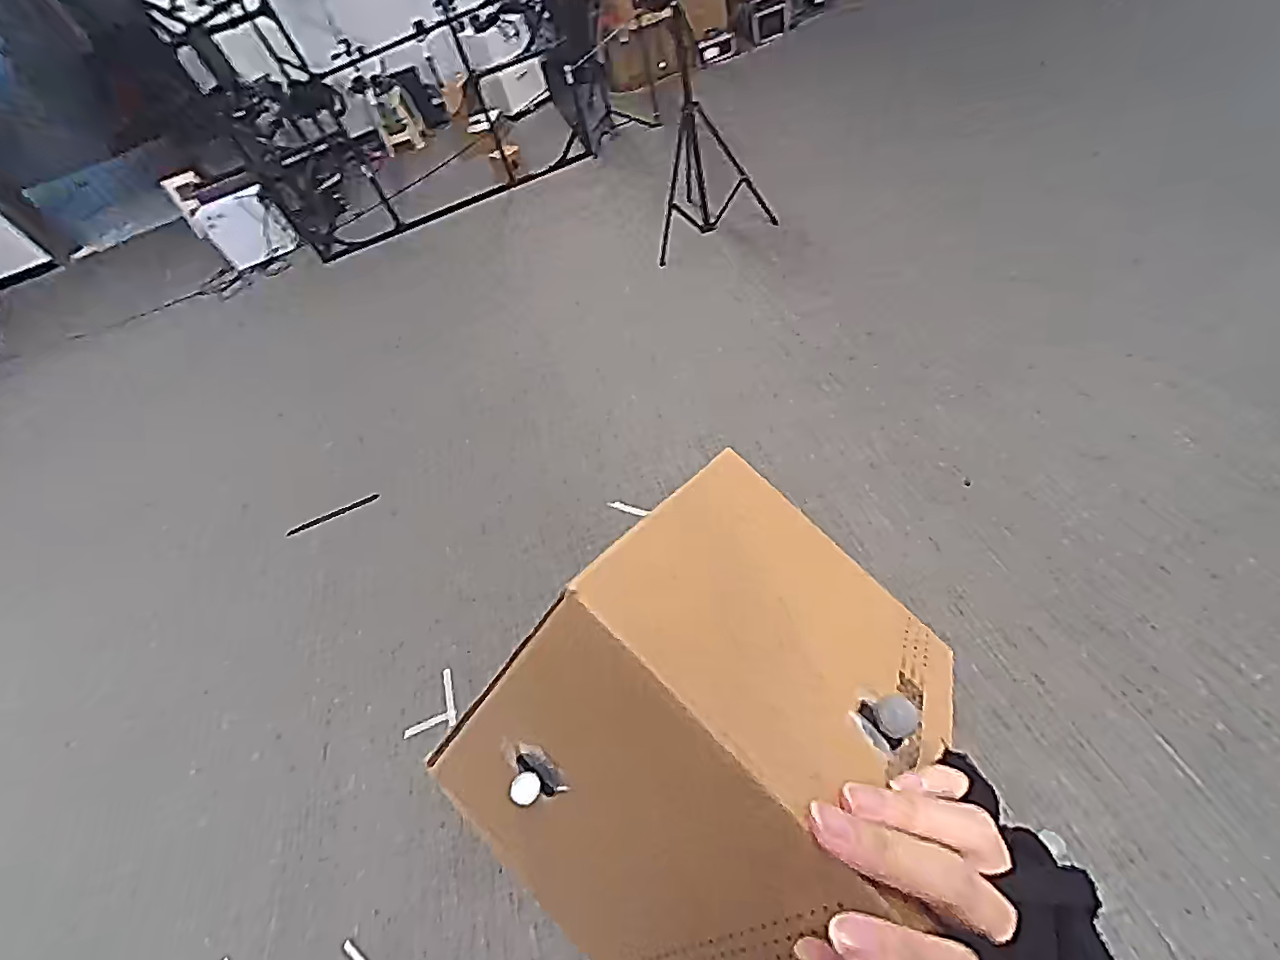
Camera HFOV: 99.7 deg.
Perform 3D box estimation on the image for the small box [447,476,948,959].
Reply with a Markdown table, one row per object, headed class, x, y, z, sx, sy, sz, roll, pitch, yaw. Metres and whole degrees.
| class | x | y | z | sx | sy | sz | roll | pitch | yaw |
| --- | --- | --- | --- | --- | --- | --- | --- | --- | --- |
| small box | 0.033 | 0.134 | 0.300 | 0.176 | 0.179 | 0.168 | 43 | 34 | 8 |
